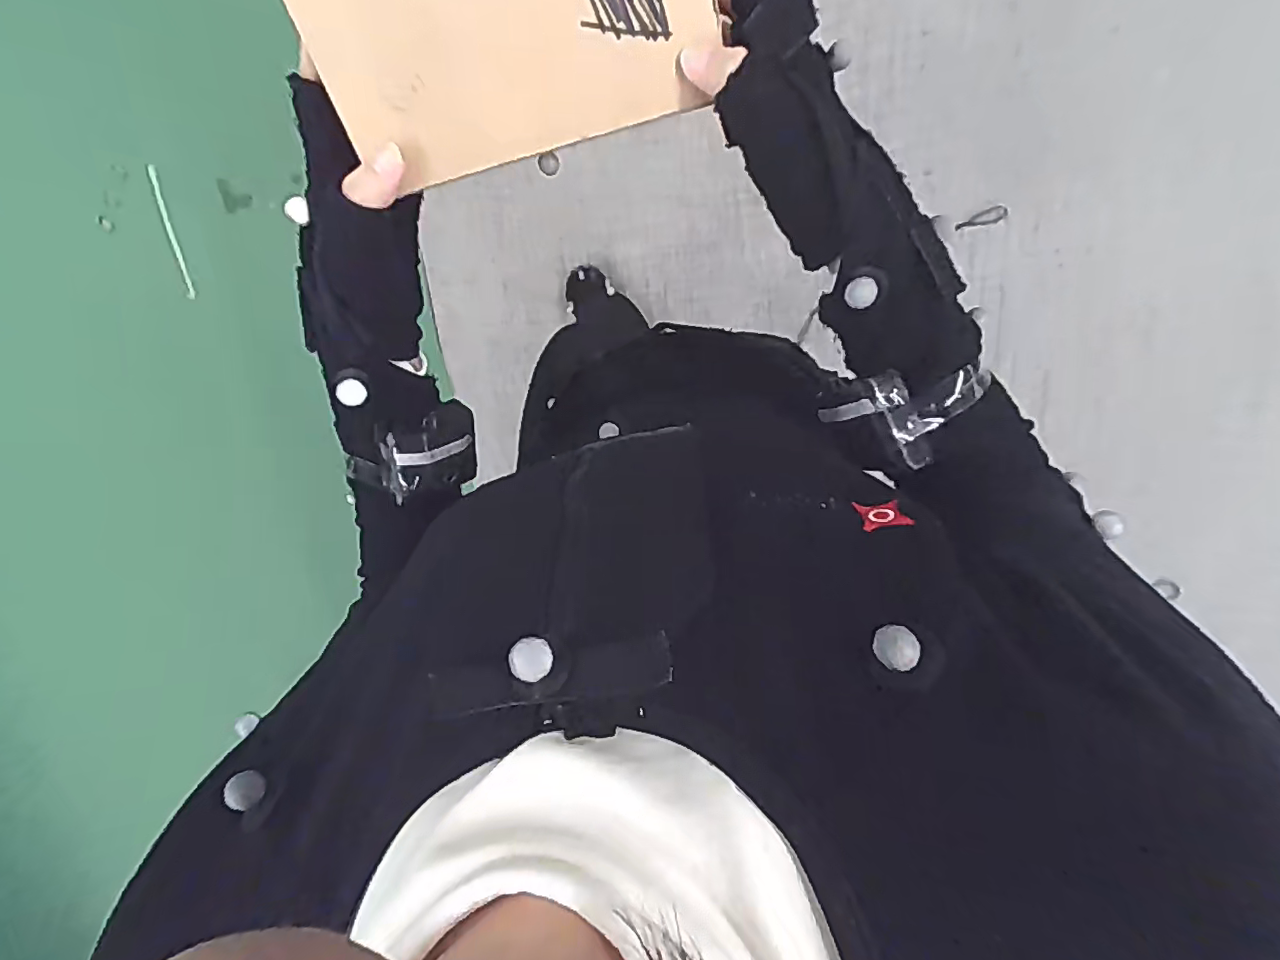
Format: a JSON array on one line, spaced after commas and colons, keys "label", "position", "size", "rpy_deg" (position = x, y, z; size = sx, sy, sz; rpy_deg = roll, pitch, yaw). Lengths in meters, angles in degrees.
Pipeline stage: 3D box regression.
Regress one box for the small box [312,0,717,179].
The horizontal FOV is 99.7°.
[{"label": "small box", "position": [-0.069, -0.282, 0.292], "size": [0.179, 0.176, 0.168], "rpy_deg": [-13, 125, 3]}]
